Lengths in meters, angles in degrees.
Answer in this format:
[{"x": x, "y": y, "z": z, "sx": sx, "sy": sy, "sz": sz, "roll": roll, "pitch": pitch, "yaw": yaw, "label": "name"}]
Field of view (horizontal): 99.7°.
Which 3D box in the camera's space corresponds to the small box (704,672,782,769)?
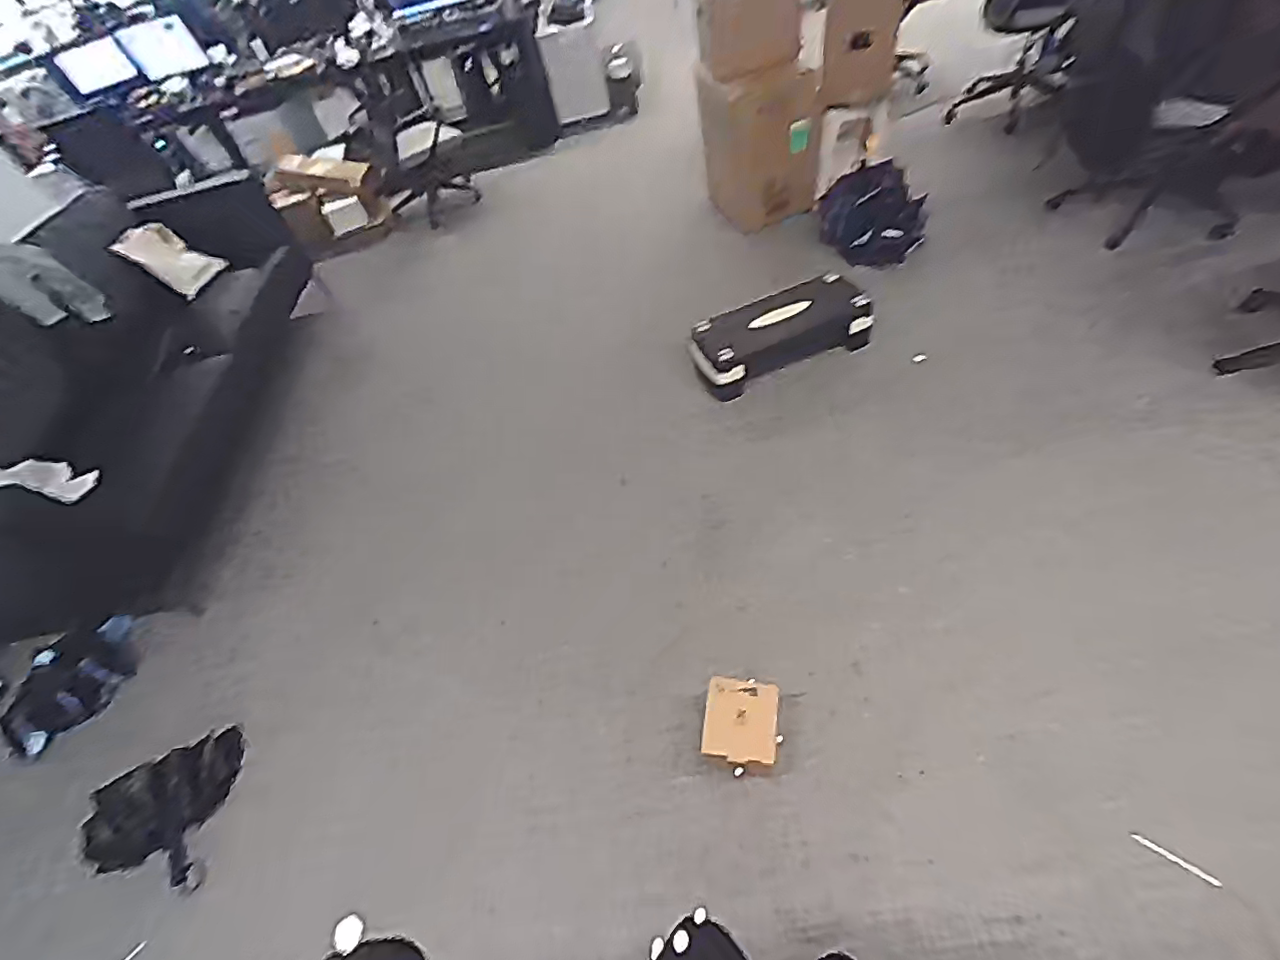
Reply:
[{"x": 0.257, "y": 0.590, "z": 1.318, "sx": 0.168, "sy": 0.176, "sz": 0.179, "roll": 1, "pitch": 54, "yaw": 16, "label": "small box"}]
